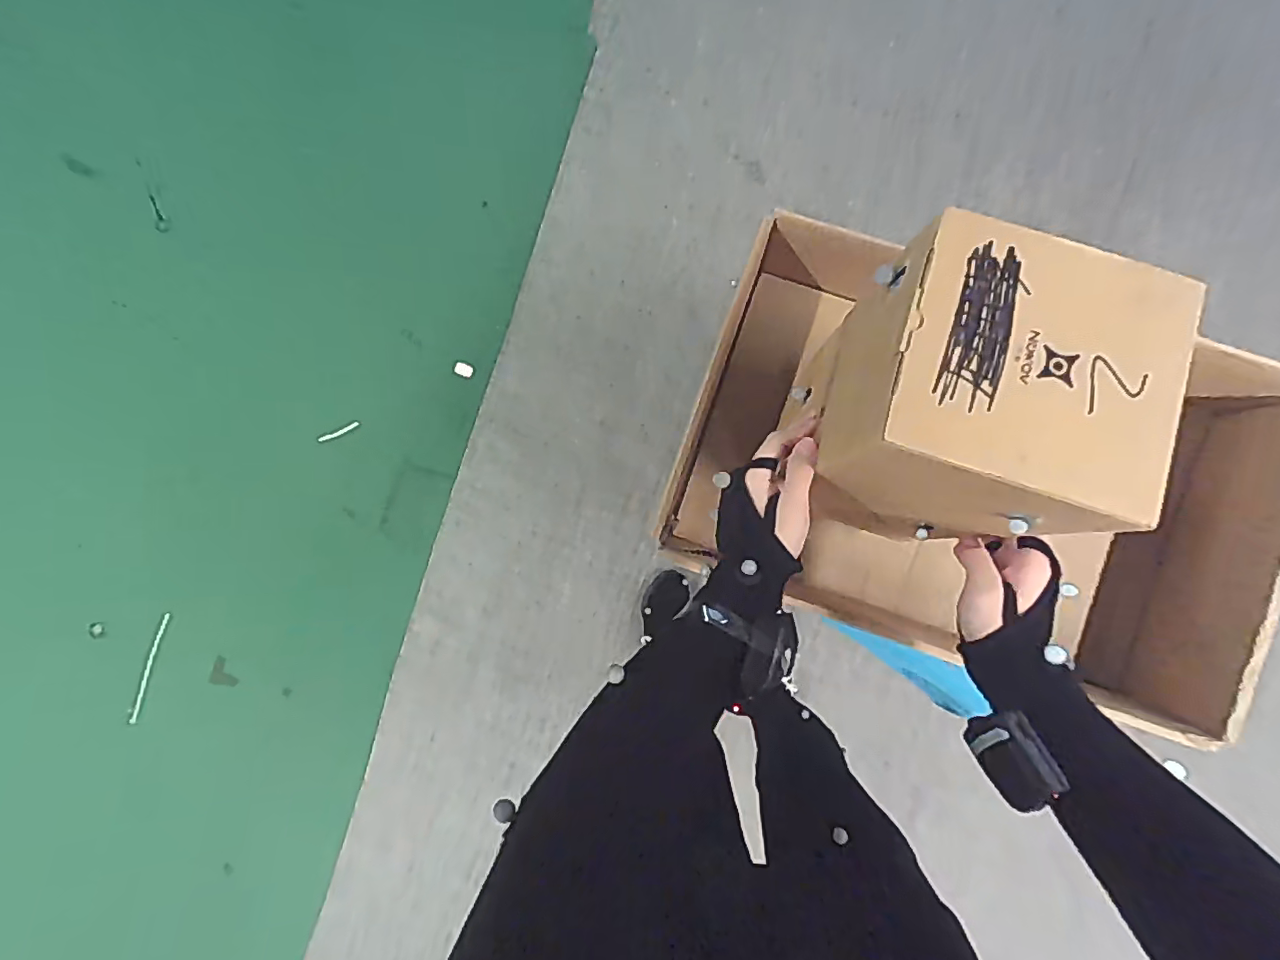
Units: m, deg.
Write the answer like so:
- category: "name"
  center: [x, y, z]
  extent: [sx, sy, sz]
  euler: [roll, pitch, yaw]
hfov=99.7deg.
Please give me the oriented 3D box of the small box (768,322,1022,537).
- category: "small box"
  center: [0.253, -0.039, 0.579]
  extent: [0.179, 0.176, 0.168]
  euler: [18, 83, 3]
